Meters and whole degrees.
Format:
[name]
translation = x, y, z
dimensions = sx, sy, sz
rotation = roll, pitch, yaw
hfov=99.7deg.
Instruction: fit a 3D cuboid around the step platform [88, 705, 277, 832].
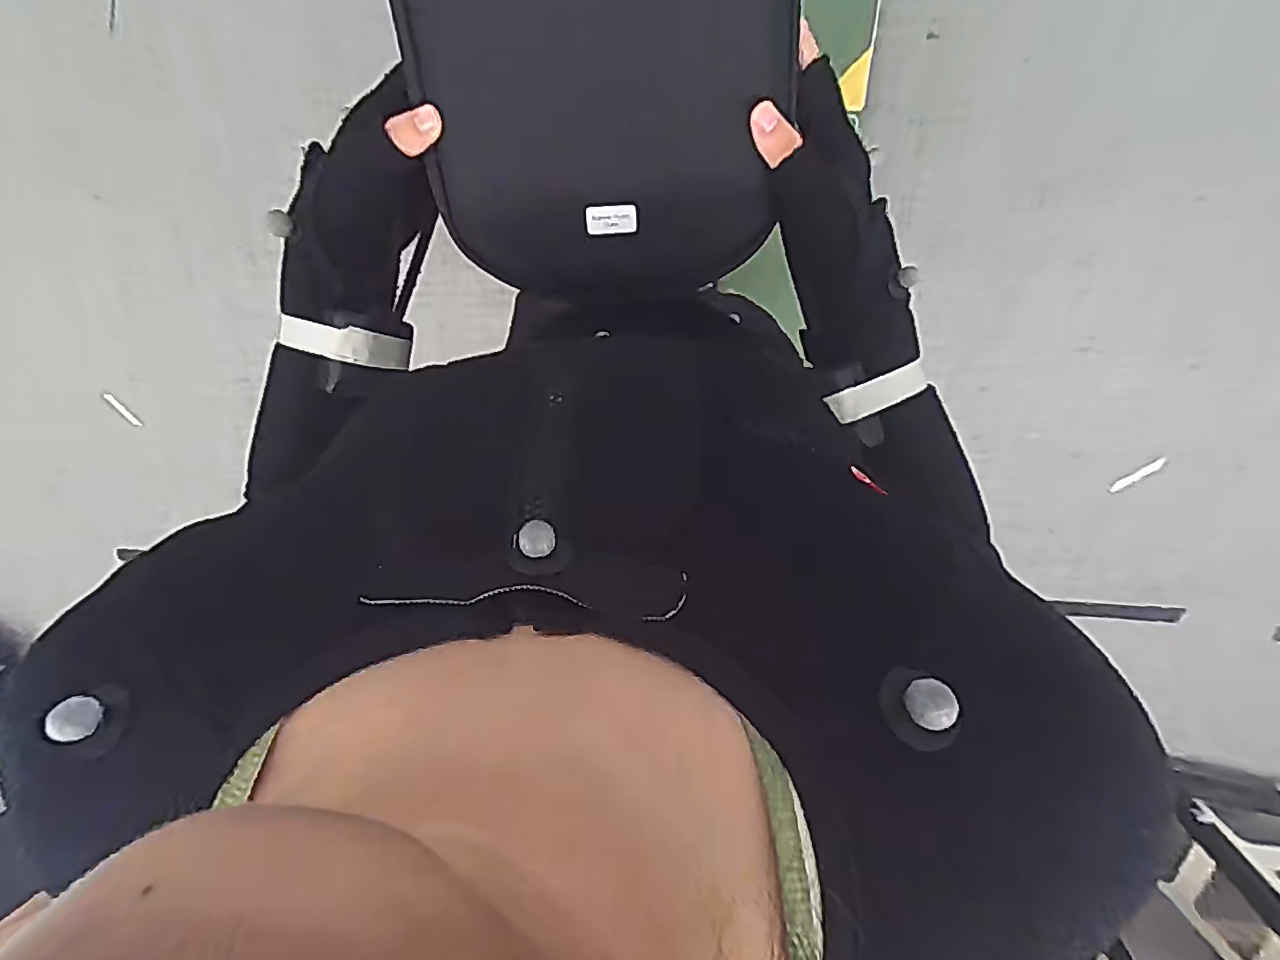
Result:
[step platform]
translation = -1.799, 1.140, 2.123
dimensions = 0.684, 0.204, 0.286
rotation = -25, 107, 14
